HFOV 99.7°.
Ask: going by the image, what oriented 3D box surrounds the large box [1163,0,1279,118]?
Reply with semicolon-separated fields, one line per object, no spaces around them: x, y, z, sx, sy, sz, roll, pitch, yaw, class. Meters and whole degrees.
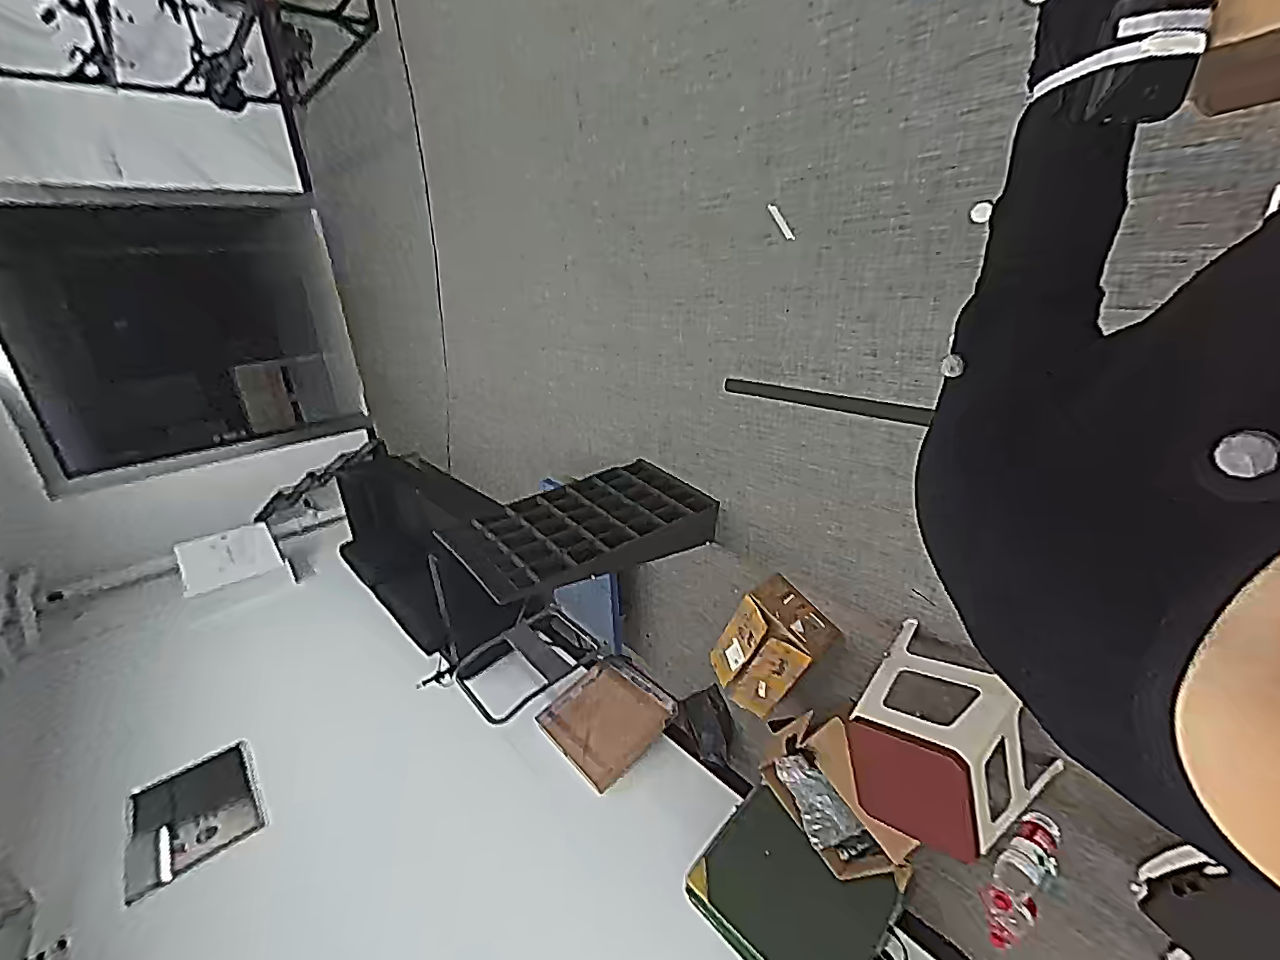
0.557;-0.430;0.254;0.408;0.320;0.320;12;116;46;large box
